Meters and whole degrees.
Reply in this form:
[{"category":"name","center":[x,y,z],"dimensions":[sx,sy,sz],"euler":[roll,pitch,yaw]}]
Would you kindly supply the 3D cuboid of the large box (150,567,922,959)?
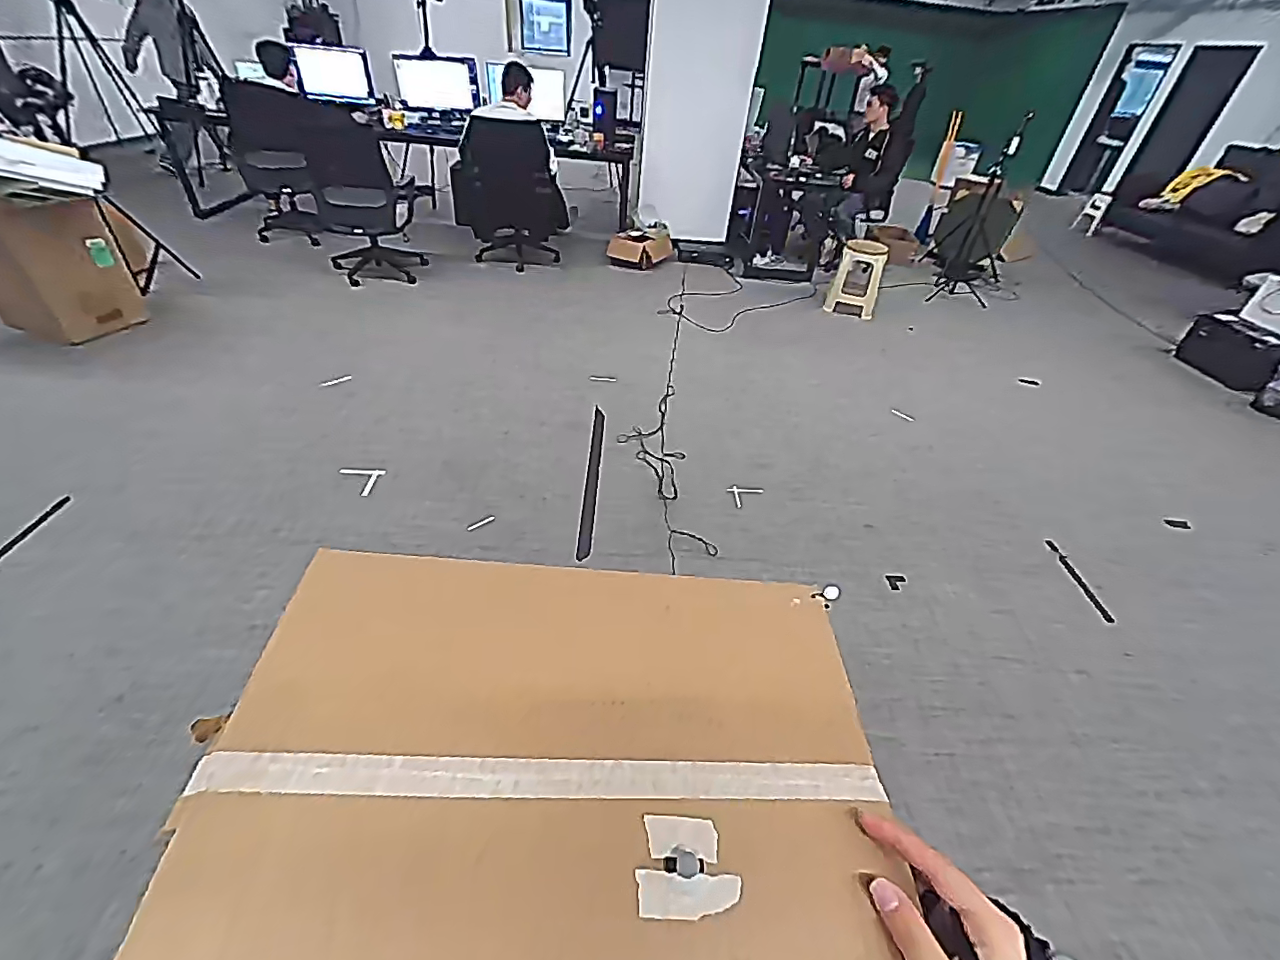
[{"category":"large box","center":[-0.066,0.296,0.440],"dimensions":[0.408,0.320,0.320],"euler":[6,45,-8]}]
